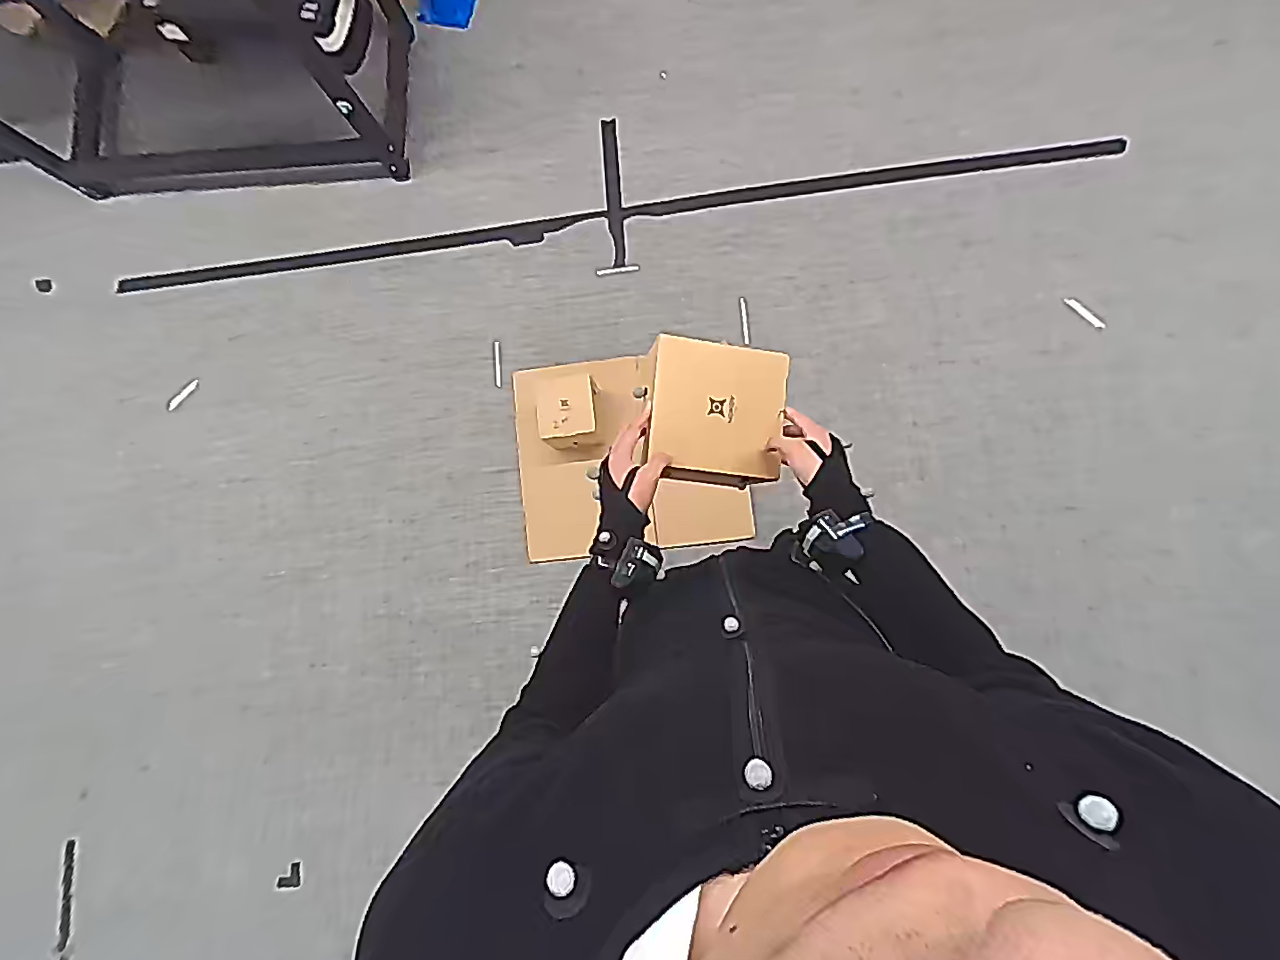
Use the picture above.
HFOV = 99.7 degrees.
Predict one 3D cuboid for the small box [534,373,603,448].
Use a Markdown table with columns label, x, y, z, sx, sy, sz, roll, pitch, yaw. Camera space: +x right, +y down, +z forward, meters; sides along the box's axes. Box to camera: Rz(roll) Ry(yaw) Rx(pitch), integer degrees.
| label | x | y | z | sx | sy | sz | roll | pitch | yaw |
| --- | --- | --- | --- | --- | --- | --- | --- | --- | --- |
| small box | -0.210 | -0.202 | 1.610 | 0.168 | 0.176 | 0.179 | -7 | 83 | 4 |

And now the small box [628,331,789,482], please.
| label | x | y | z | sx | sy | sz | roll | pitch | yaw |
| --- | --- | --- | --- | --- | --- | --- | --- | --- | --- |
| small box | 0.084 | -0.089 | 0.750 | 0.179 | 0.176 | 0.168 | 7 | 86 | -10 |
